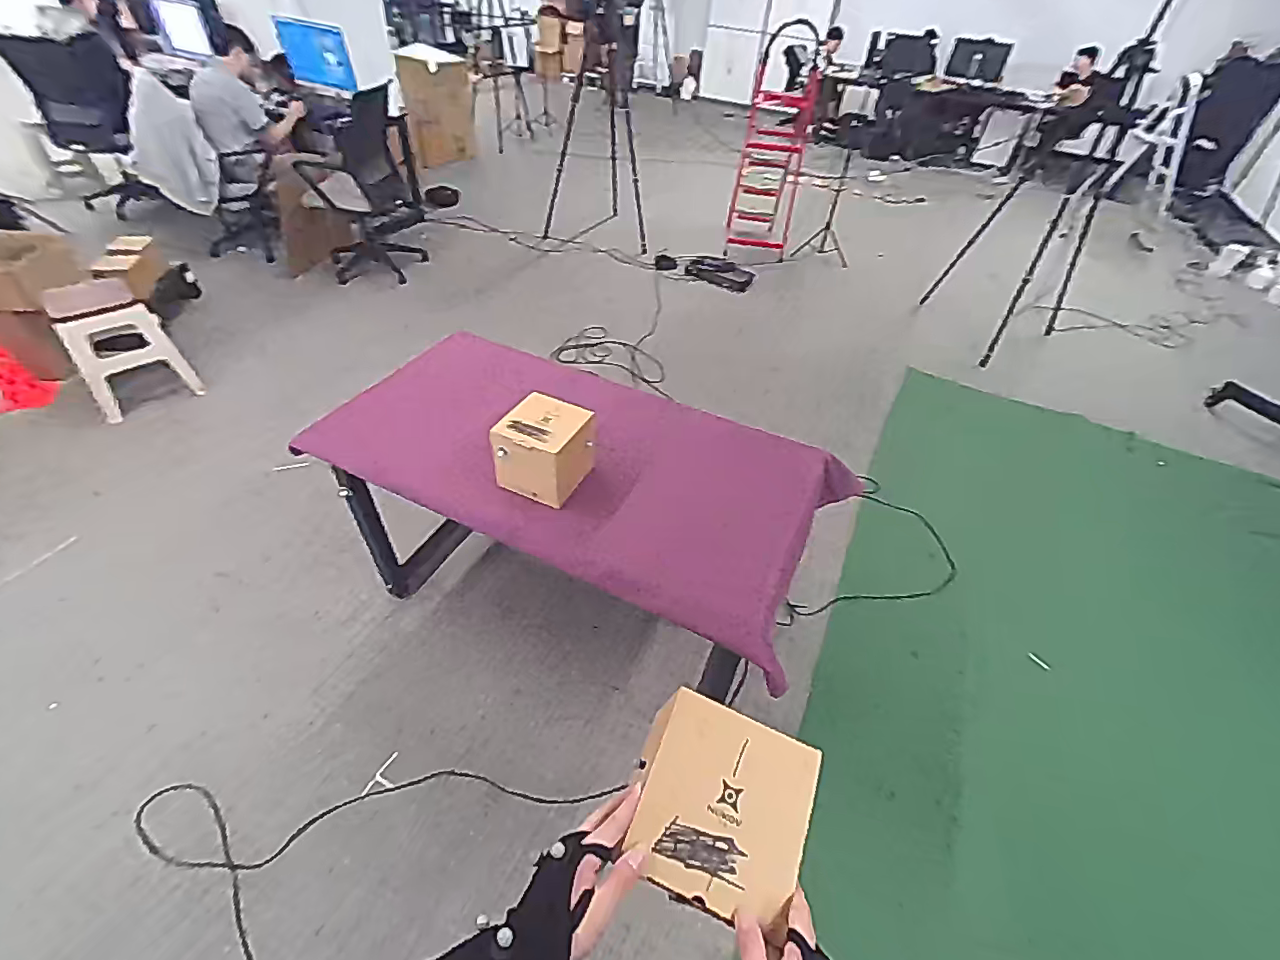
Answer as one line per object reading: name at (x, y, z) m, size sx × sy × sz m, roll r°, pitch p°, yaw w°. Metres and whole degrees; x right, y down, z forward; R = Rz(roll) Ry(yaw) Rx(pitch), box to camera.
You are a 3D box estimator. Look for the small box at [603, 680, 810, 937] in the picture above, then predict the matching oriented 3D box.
small box at (0.066, 0.357, 0.604) m, size 0.168 × 0.176 × 0.179 m, roll 23°, pitch 56°, yaw 6°
